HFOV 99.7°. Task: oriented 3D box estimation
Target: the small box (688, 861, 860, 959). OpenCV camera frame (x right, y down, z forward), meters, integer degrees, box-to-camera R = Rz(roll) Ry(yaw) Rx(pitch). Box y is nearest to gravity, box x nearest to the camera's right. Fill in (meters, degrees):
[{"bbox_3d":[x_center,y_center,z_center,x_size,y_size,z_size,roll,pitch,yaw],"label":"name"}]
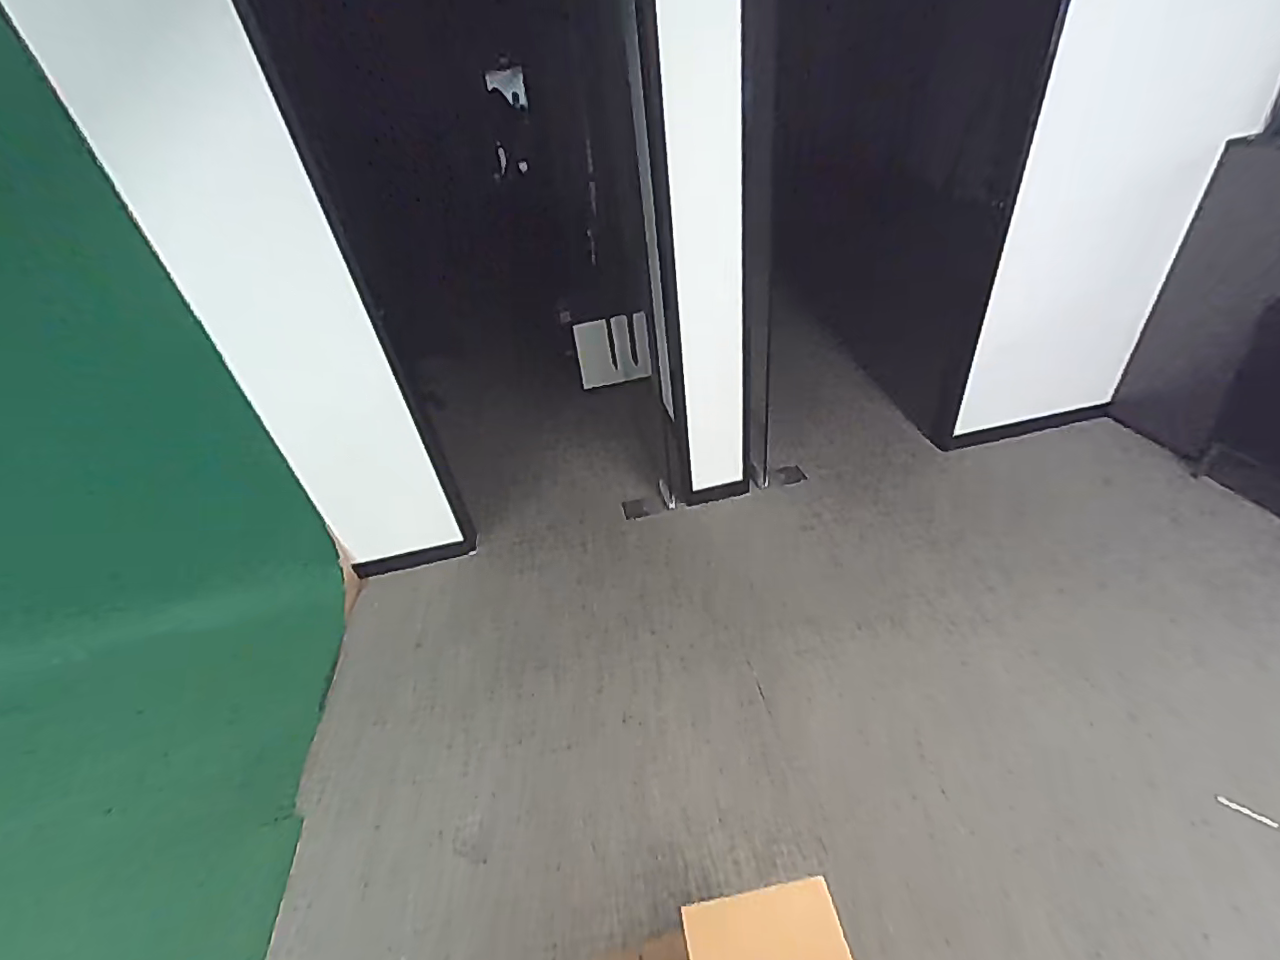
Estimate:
[{"bbox_3d":[0.153,0.564,0.595,0.168,0.176,0.179,-11,37,-2],"label":"small box"}]
